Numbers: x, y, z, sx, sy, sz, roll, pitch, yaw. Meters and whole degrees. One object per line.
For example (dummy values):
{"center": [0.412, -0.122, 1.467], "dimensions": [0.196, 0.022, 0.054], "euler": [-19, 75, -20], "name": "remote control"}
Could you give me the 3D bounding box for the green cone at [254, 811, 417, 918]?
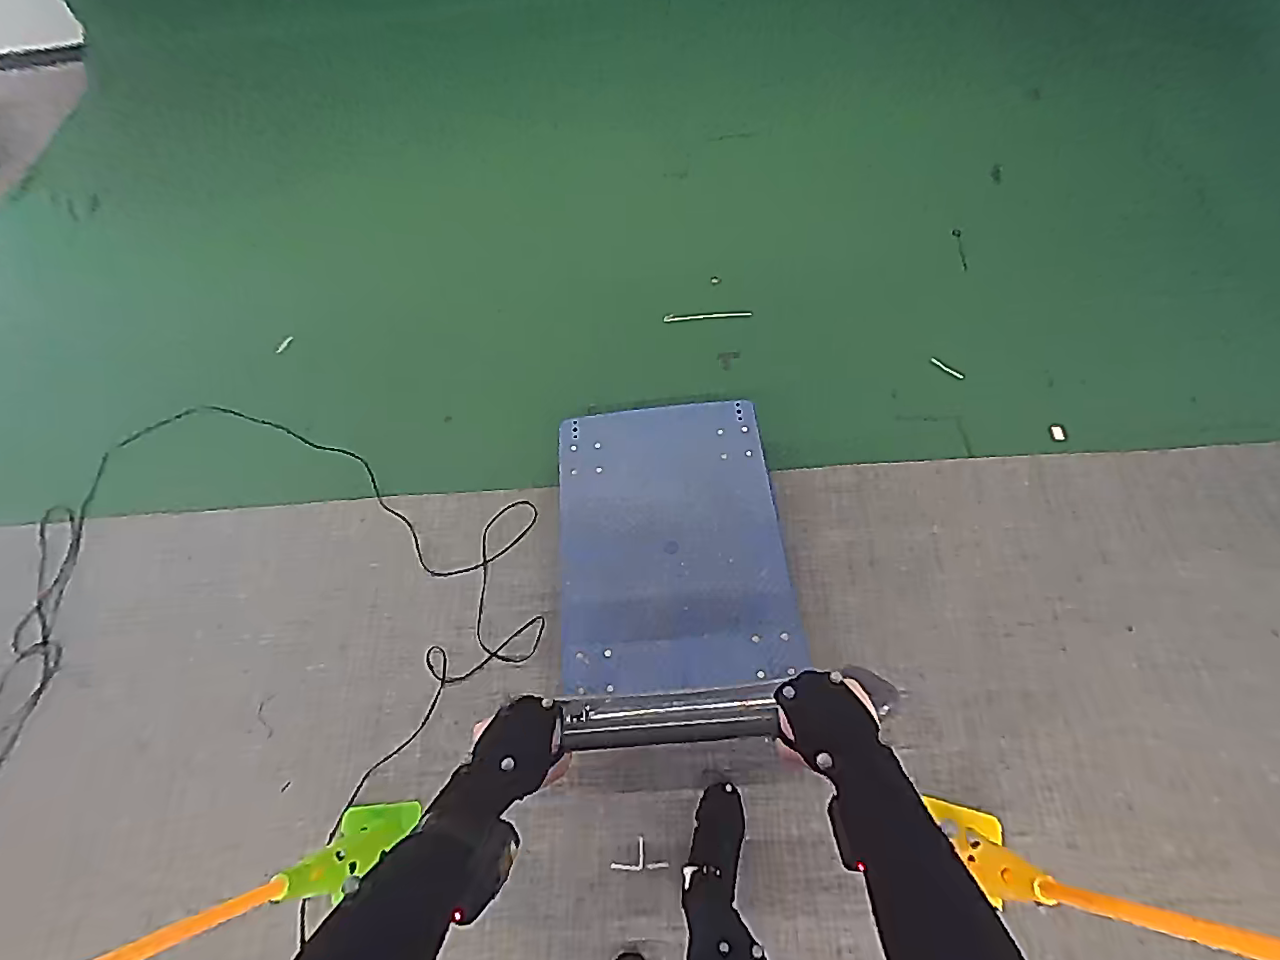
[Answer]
{"center": [-0.650, 0.828, 1.129], "dimensions": [0.202, 0.368, 0.200], "euler": [-8, 62, 3], "name": "green cone"}
